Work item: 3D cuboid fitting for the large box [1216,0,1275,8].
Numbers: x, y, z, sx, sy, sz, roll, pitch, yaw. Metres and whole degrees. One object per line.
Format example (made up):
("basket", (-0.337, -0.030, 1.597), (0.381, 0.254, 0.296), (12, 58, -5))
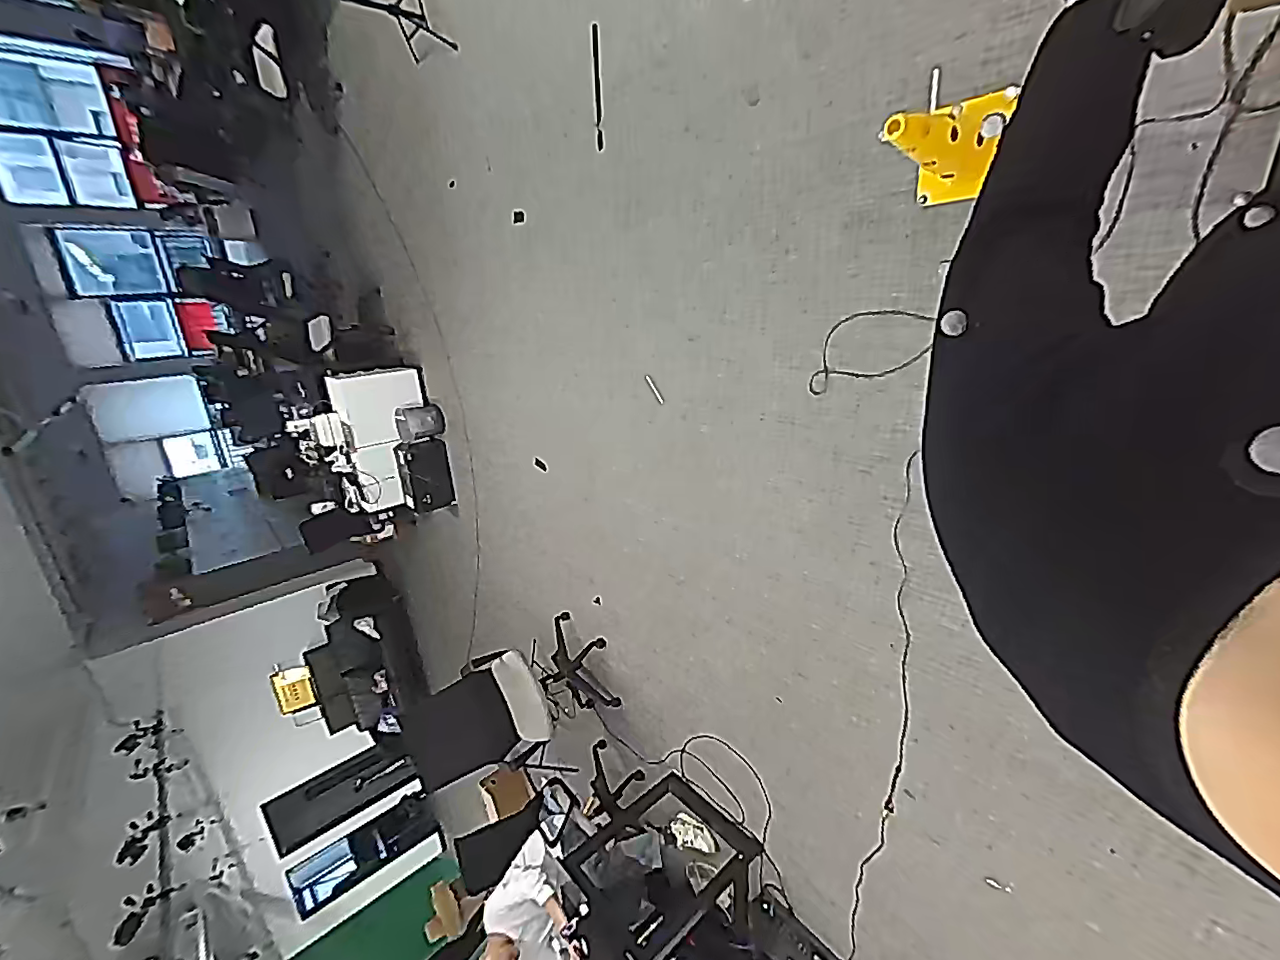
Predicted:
("large box", (0.566, -0.487, 0.239), (0.408, 0.320, 0.320), (19, 130, 46))
